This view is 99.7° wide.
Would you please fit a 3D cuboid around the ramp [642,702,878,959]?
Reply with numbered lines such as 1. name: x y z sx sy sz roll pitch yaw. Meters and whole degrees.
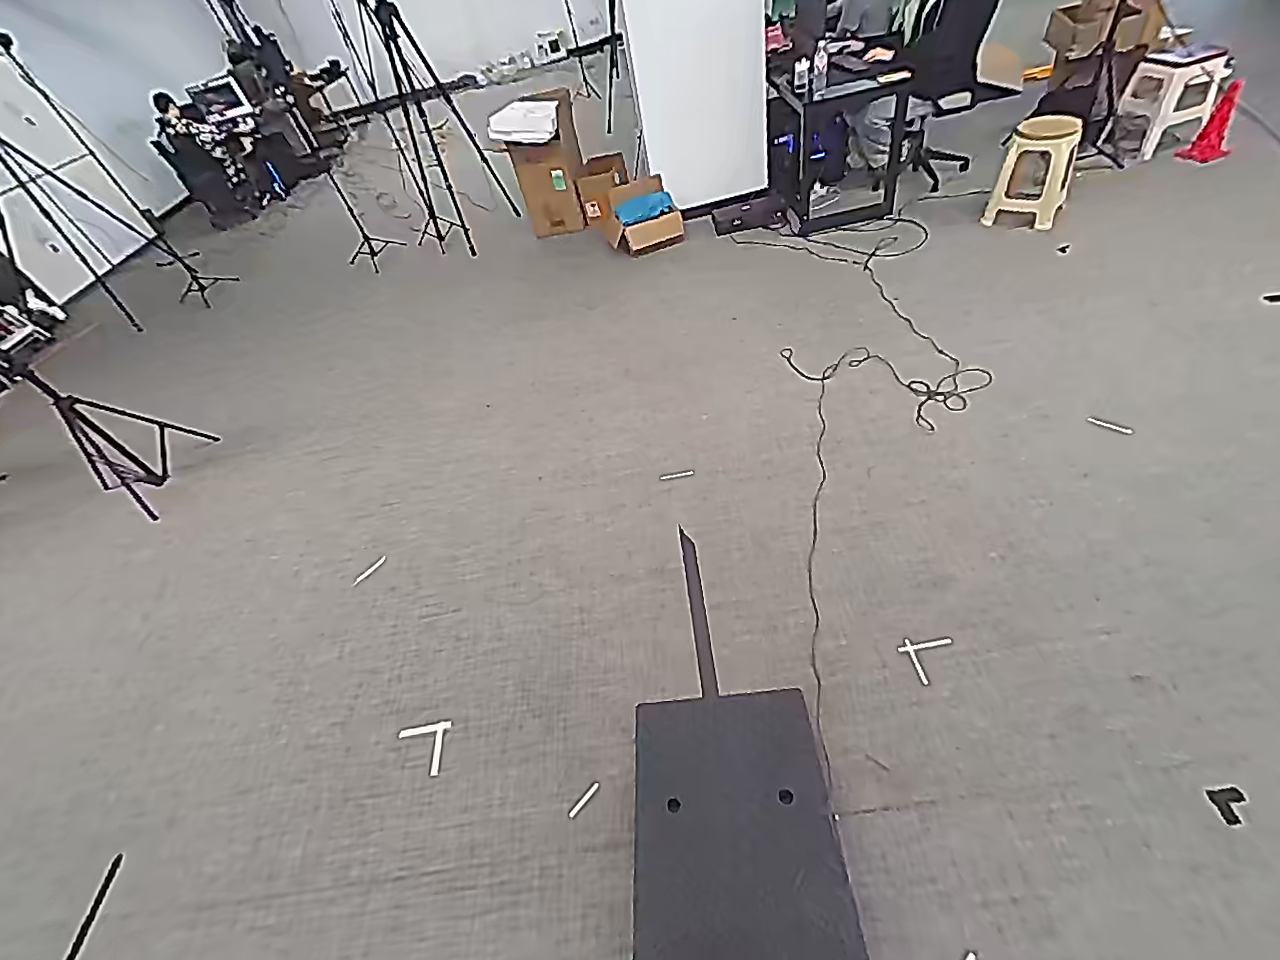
1. ramp: 0.245 0.974 1.188 0.509 0.206 0.991 -12 44 6
